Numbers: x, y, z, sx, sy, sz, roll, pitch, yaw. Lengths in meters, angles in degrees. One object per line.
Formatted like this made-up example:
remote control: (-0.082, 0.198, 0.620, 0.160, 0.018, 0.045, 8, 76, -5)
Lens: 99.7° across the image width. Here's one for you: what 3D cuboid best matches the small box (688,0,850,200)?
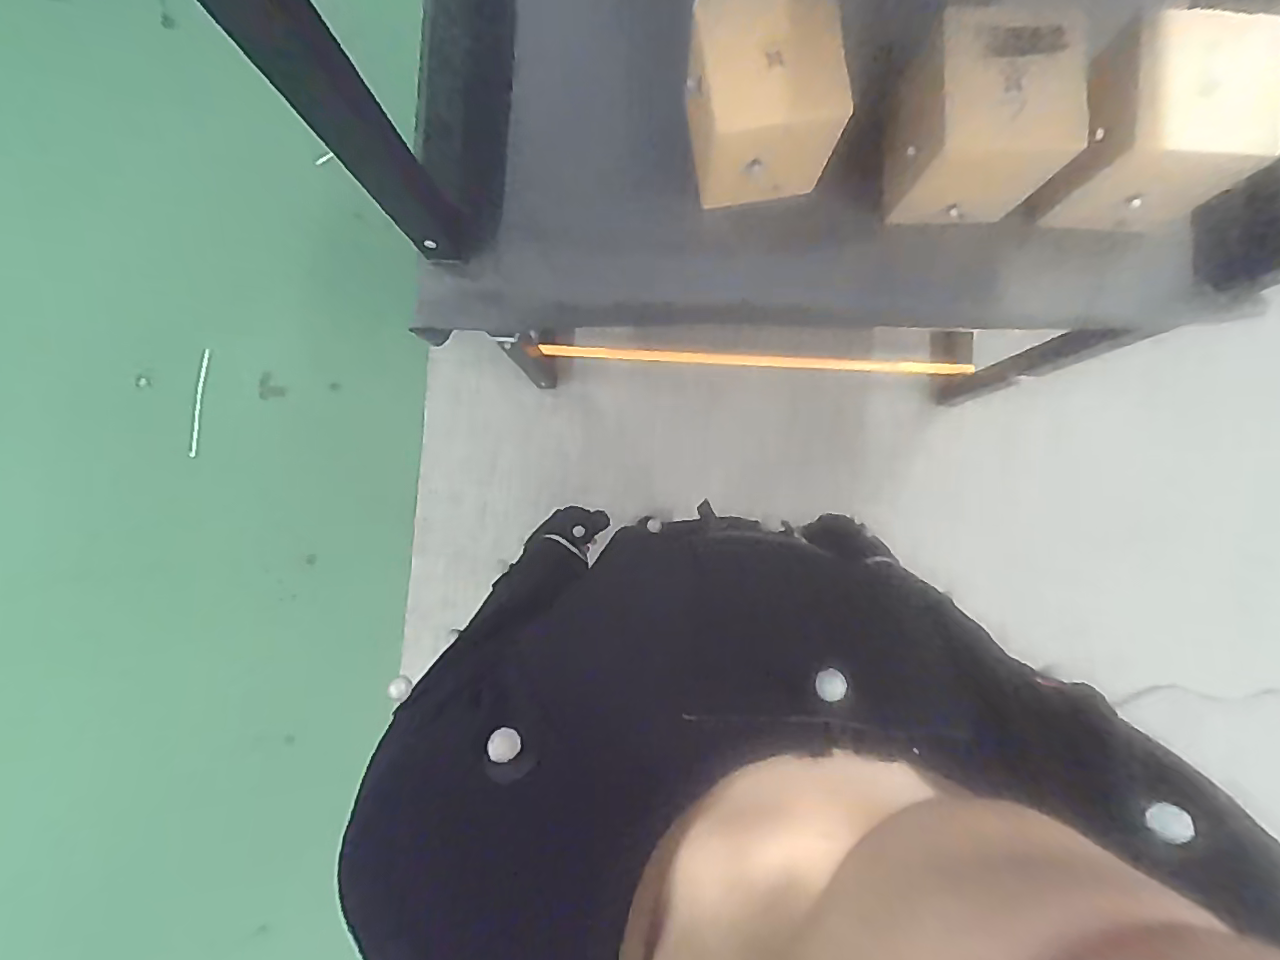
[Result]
small box: (0.160, -0.501, 0.722, 0.168, 0.176, 0.179, -8, 86, 1)
